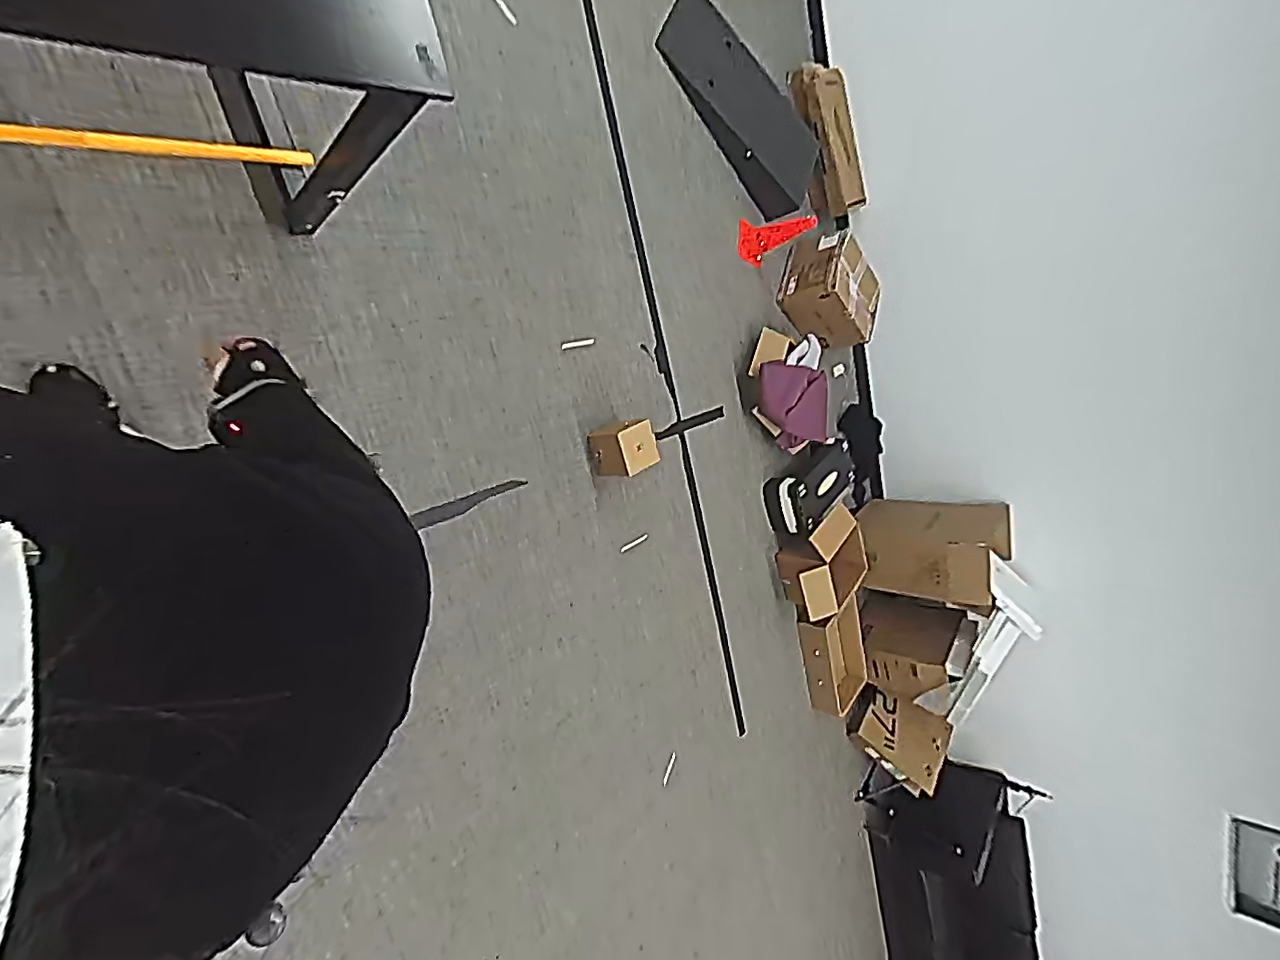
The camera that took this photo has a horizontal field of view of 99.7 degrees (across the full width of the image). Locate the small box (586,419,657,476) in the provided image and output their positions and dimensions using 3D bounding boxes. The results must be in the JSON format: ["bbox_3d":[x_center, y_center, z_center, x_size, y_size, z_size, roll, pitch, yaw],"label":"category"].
[{"bbox_3d":[-0.068,-0.122,2.003,0.179,0.176,0.168,-30,111,-40],"label":"small box"}]
